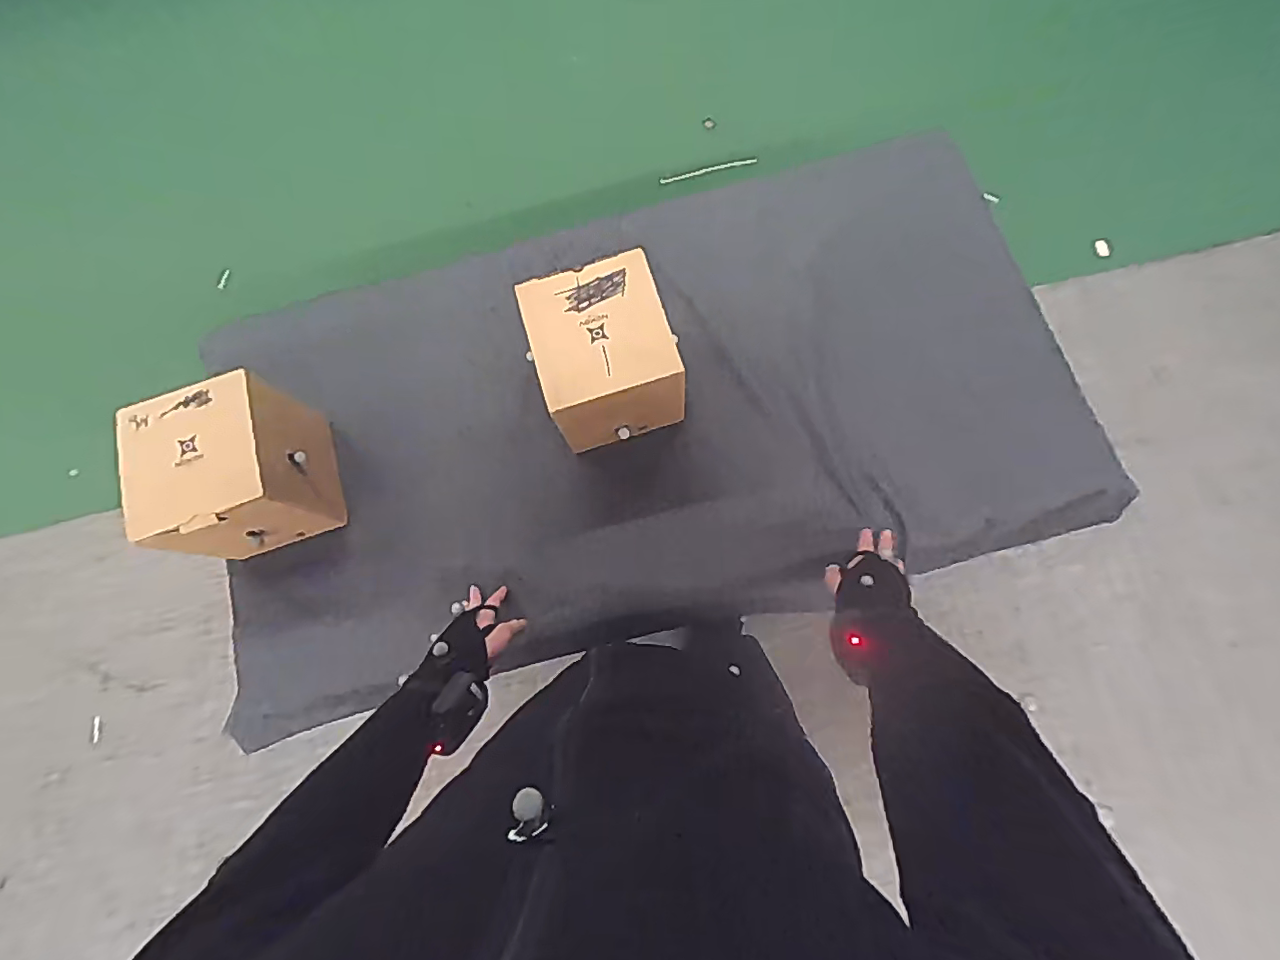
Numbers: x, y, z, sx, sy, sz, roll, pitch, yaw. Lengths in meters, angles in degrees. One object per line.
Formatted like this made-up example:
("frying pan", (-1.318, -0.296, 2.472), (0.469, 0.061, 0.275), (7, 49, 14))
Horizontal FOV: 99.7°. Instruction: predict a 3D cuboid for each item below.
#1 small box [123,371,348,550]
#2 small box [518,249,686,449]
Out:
("small box", (-0.520, -0.012, 0.717), (0.168, 0.176, 0.179), (-19, 76, -1))
("small box", (-0.044, -0.162, 0.715), (0.168, 0.176, 0.179), (-17, 76, 0))
